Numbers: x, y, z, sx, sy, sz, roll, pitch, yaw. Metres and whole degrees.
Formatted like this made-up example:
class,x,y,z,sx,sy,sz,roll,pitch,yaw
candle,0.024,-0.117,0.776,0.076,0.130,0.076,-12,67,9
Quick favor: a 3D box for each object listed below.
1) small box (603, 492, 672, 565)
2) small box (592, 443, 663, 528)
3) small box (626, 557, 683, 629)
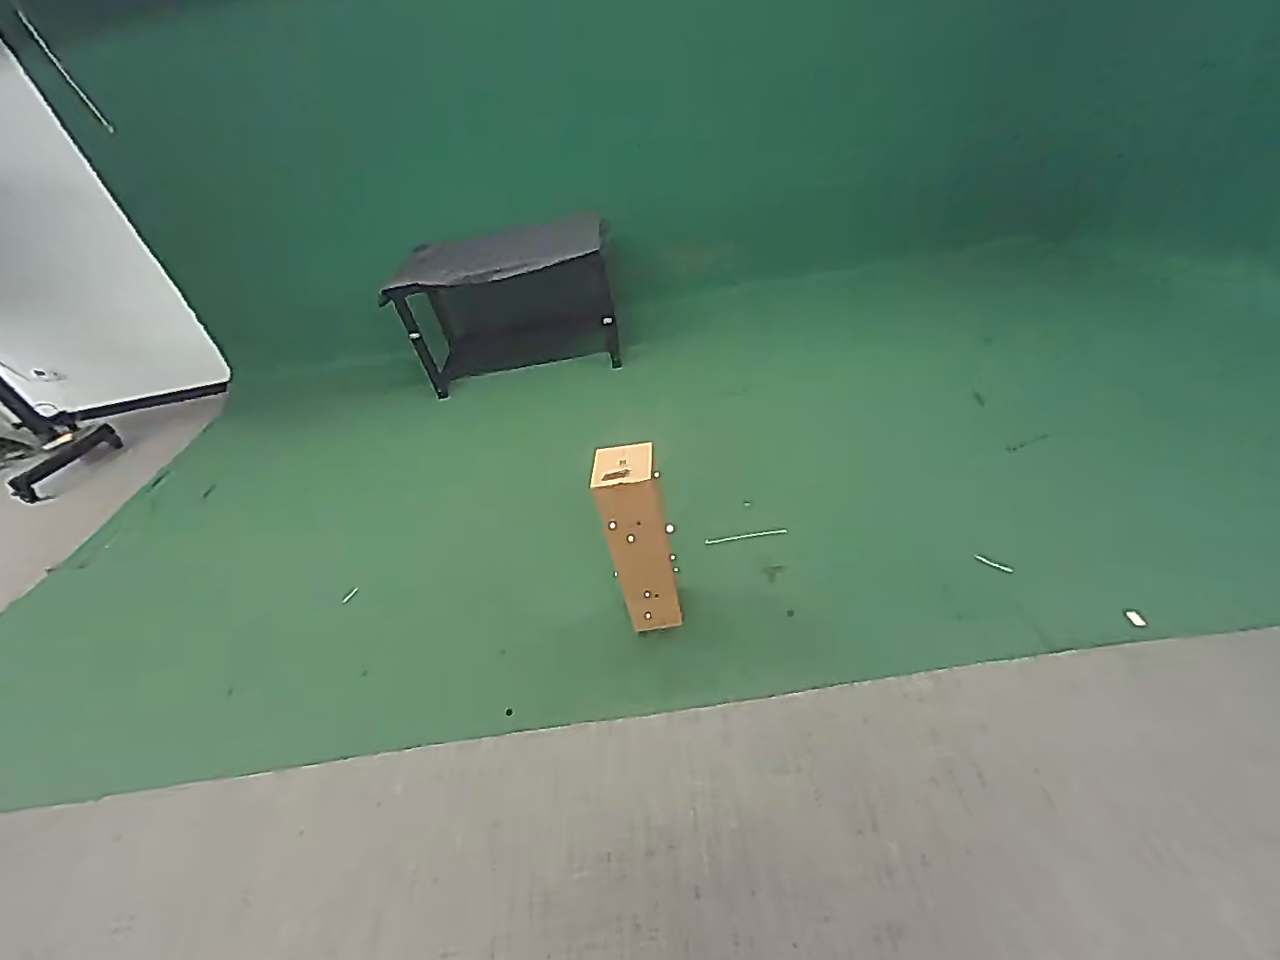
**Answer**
class,x,y,z,sx,sy,sz,roll,pitch,yaw
small box,-0.004,0.141,1.631,0.179,0.176,0.168,-8,39,7
small box,-0.028,0.021,1.520,0.168,0.176,0.179,-7,38,8
small box,0.050,0.390,1.839,0.168,0.176,0.179,-10,38,5
